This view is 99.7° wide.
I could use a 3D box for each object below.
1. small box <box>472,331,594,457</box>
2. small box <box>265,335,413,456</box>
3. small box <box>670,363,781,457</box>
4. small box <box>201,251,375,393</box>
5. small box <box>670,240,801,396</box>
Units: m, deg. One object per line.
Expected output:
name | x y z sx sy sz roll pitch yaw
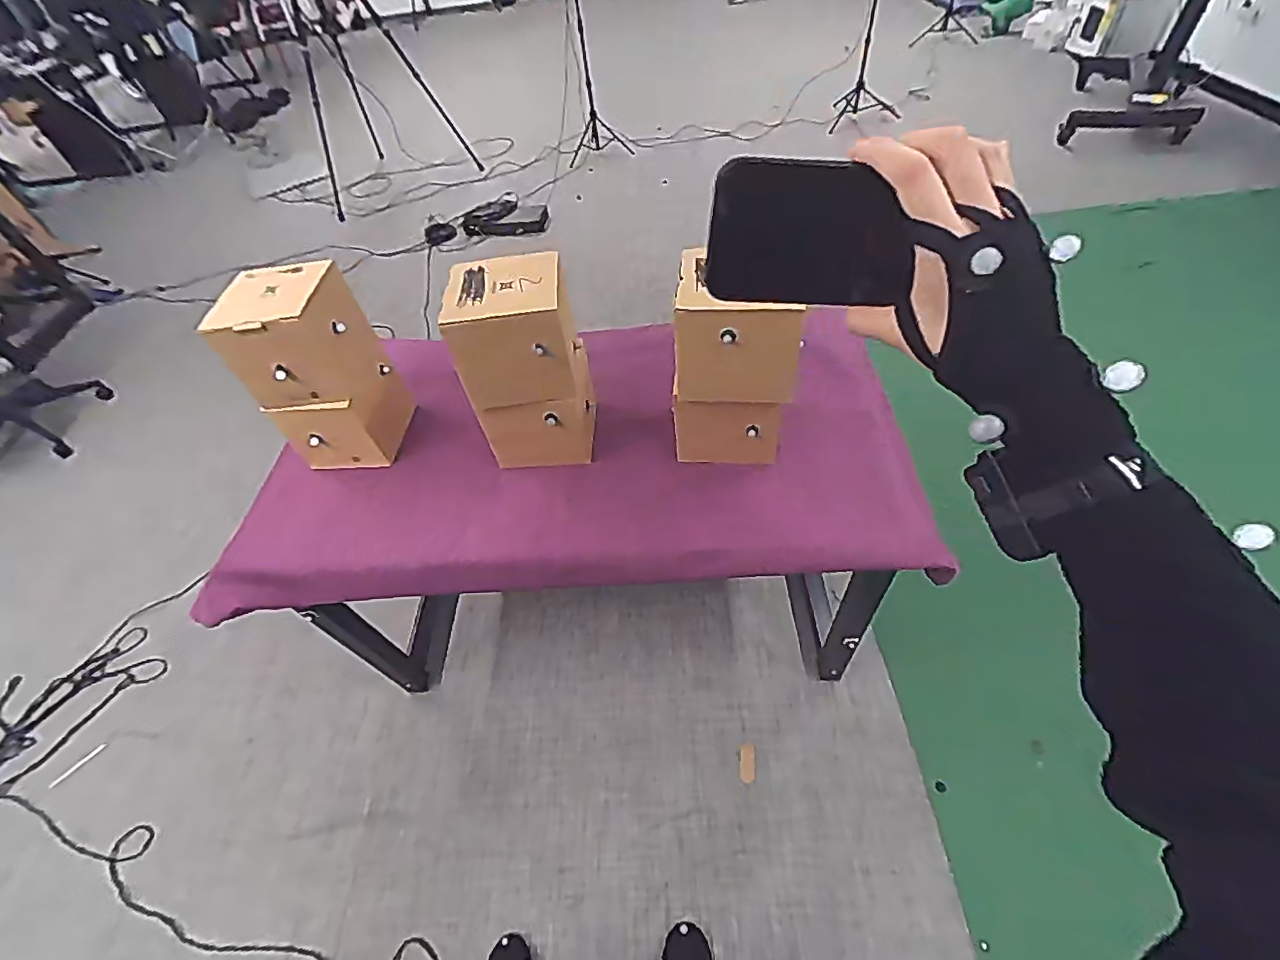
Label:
small box | -0.185 -0.156 1.007 0.179 0.176 0.168 -2 52 6
small box | -0.573 -0.158 1.059 0.168 0.176 0.179 -2 52 6
small box | 0.153 -0.156 0.966 0.179 0.176 0.168 3 52 10
small box | -0.589 -0.265 0.936 0.168 0.176 0.179 -5 52 2
small box | 0.145 -0.245 0.828 0.179 0.176 0.168 3 52 9
